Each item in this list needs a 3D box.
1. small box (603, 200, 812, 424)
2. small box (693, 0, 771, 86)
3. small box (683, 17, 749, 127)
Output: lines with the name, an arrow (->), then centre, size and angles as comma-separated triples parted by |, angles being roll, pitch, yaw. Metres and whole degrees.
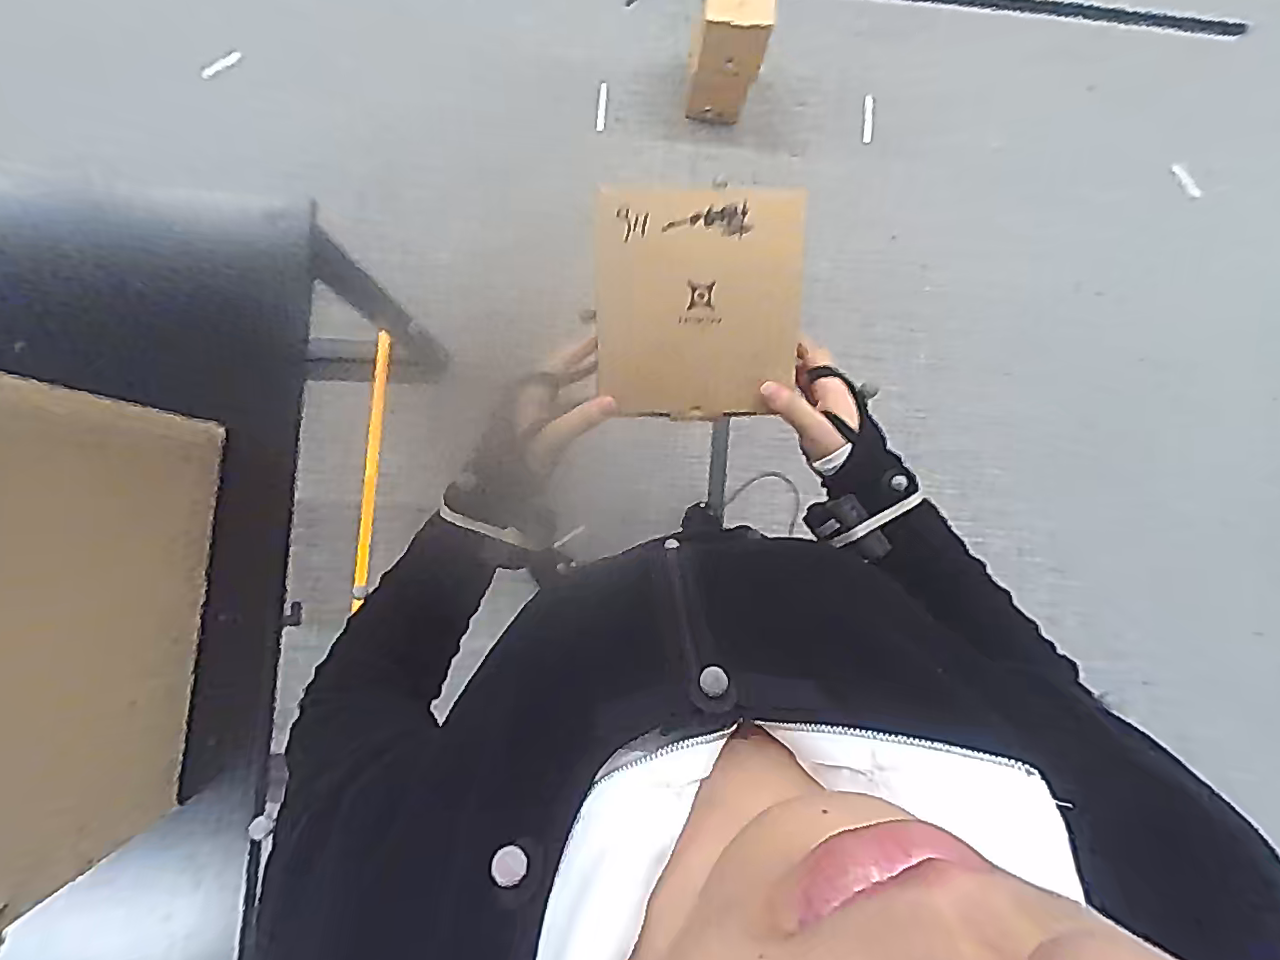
small box -> 0.049, -0.153, 0.518 | 0.168, 0.176, 0.179 | -2, 104, -4
small box -> 0.229, -1.151, 1.366 | 0.168, 0.176, 0.179 | 4, 86, -2
small box -> 0.214, -1.148, 1.531 | 0.168, 0.176, 0.179 | 3, 87, -2
